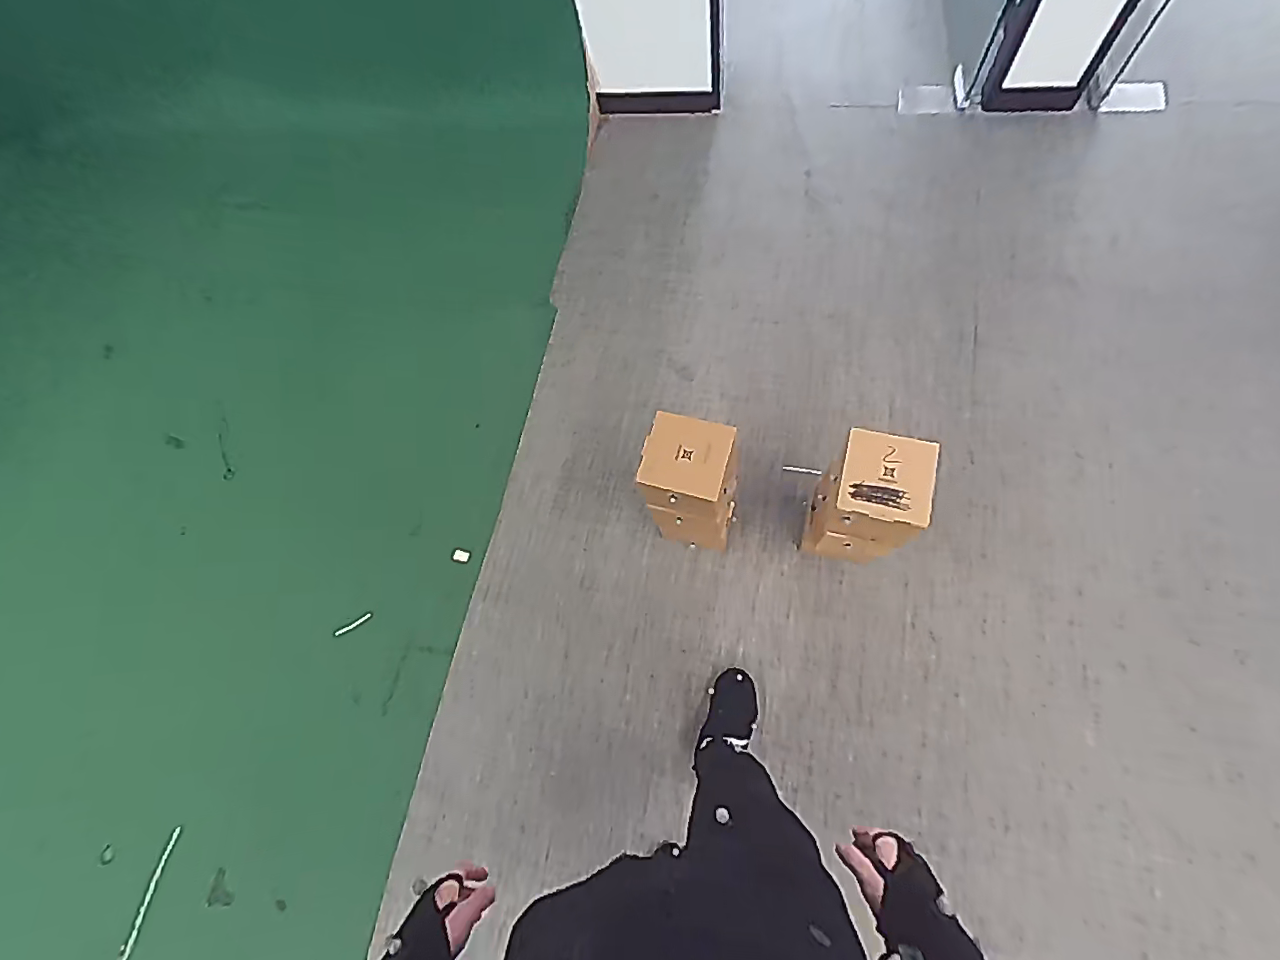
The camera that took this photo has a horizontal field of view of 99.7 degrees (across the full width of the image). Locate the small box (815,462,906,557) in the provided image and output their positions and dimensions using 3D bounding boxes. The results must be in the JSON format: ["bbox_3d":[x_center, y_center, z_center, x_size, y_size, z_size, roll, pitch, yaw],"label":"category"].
[{"bbox_3d":[0.504,0.073,1.253,0.168,0.176,0.179,6,72,11],"label":"small box"}]

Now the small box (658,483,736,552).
[{"bbox_3d":[0.159,0.092,1.479,0.179,0.176,0.168,11,73,12],"label":"small box"}]

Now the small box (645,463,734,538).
[{"bbox_3d":[0.127,0.035,1.327,0.179,0.176,0.168,12,73,13],"label":"small box"}]

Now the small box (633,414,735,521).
[{"bbox_3d":[0.101,-0.021,1.177,0.179,0.176,0.168,14,74,13],"label":"small box"}]

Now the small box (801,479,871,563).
[{"bbox_3d":[0.526,0.112,1.410,0.179,0.176,0.168,10,73,12],"label":"small box"}]
